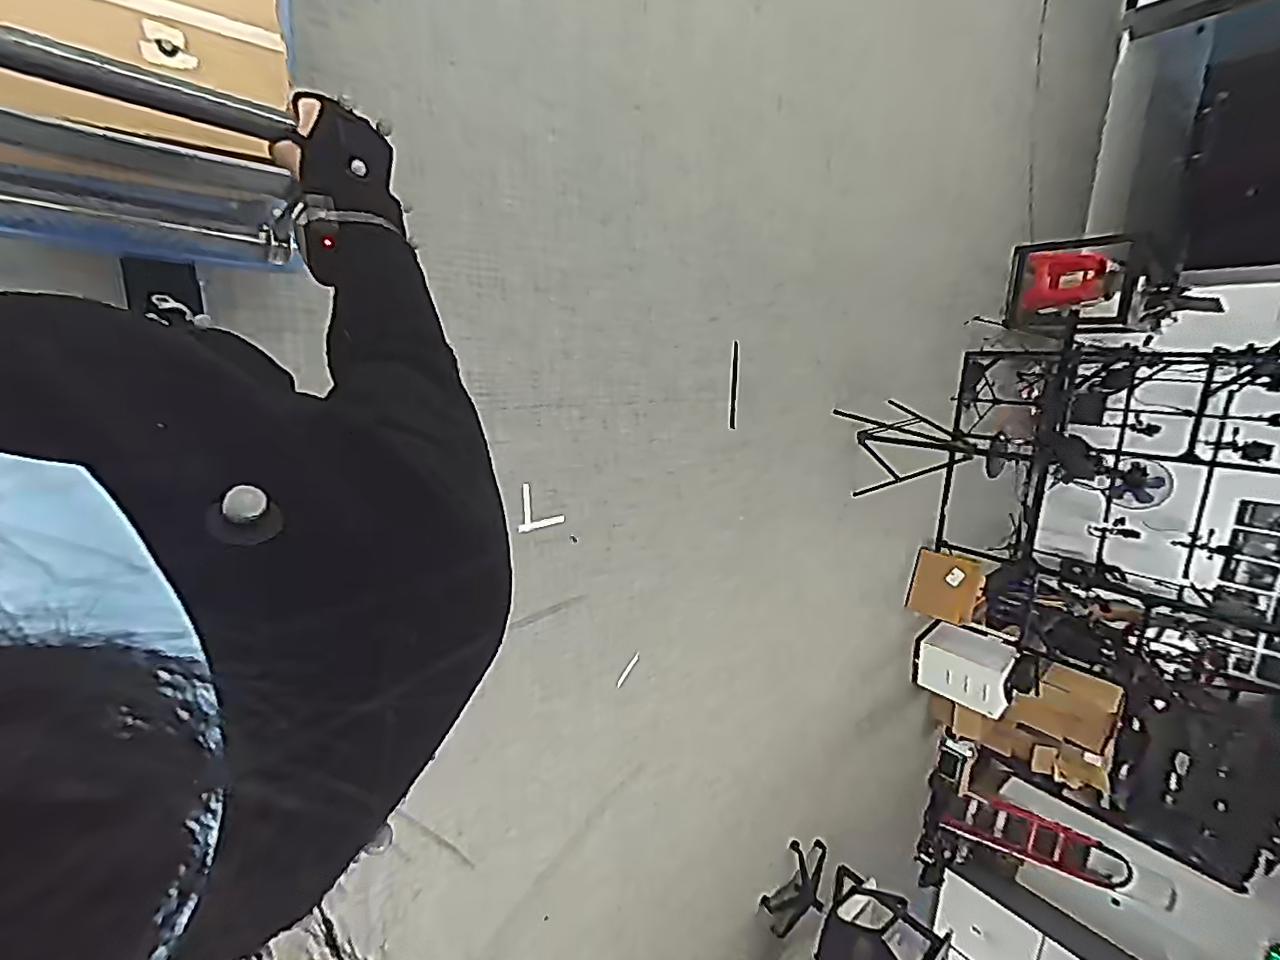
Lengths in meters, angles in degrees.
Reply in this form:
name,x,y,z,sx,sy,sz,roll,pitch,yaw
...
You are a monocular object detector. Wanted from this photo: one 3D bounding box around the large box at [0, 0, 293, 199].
name,x,y,z,sx,sy,sz,roll,pitch,yaw
large box,-0.782,-0.630,0.775,0.408,0.320,0.320,-12,109,-41
